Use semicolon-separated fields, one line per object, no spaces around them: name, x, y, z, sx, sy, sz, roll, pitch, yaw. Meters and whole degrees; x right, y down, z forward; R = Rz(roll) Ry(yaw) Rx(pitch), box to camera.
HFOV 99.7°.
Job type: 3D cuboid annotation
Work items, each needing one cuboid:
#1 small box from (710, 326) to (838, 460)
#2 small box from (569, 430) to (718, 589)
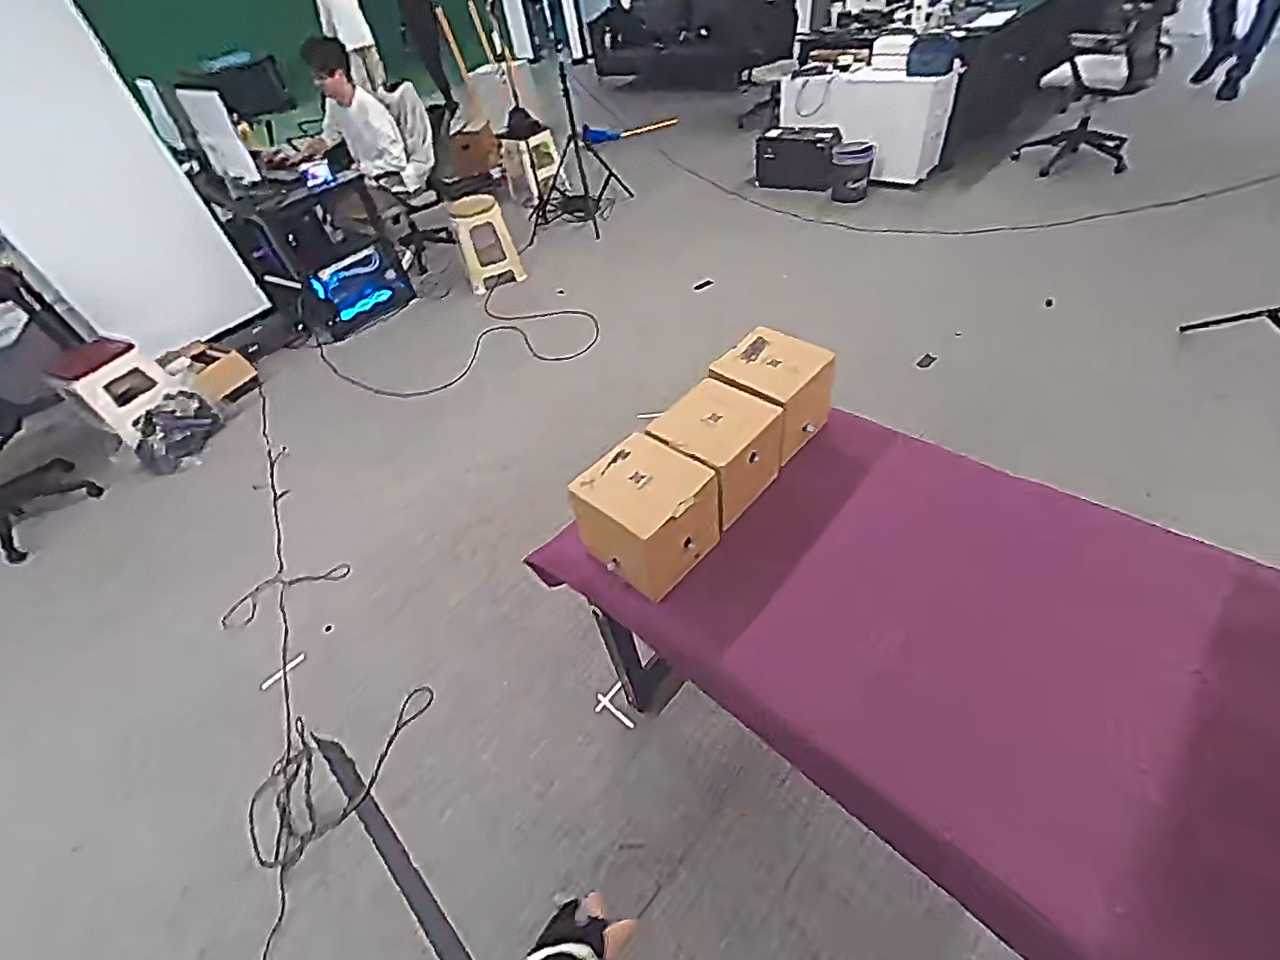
small box;0.255;-0.168;1.056;0.179;0.176;0.168;33;62;32
small box;0.013;0.054;0.892;0.179;0.176;0.168;32;58;32
